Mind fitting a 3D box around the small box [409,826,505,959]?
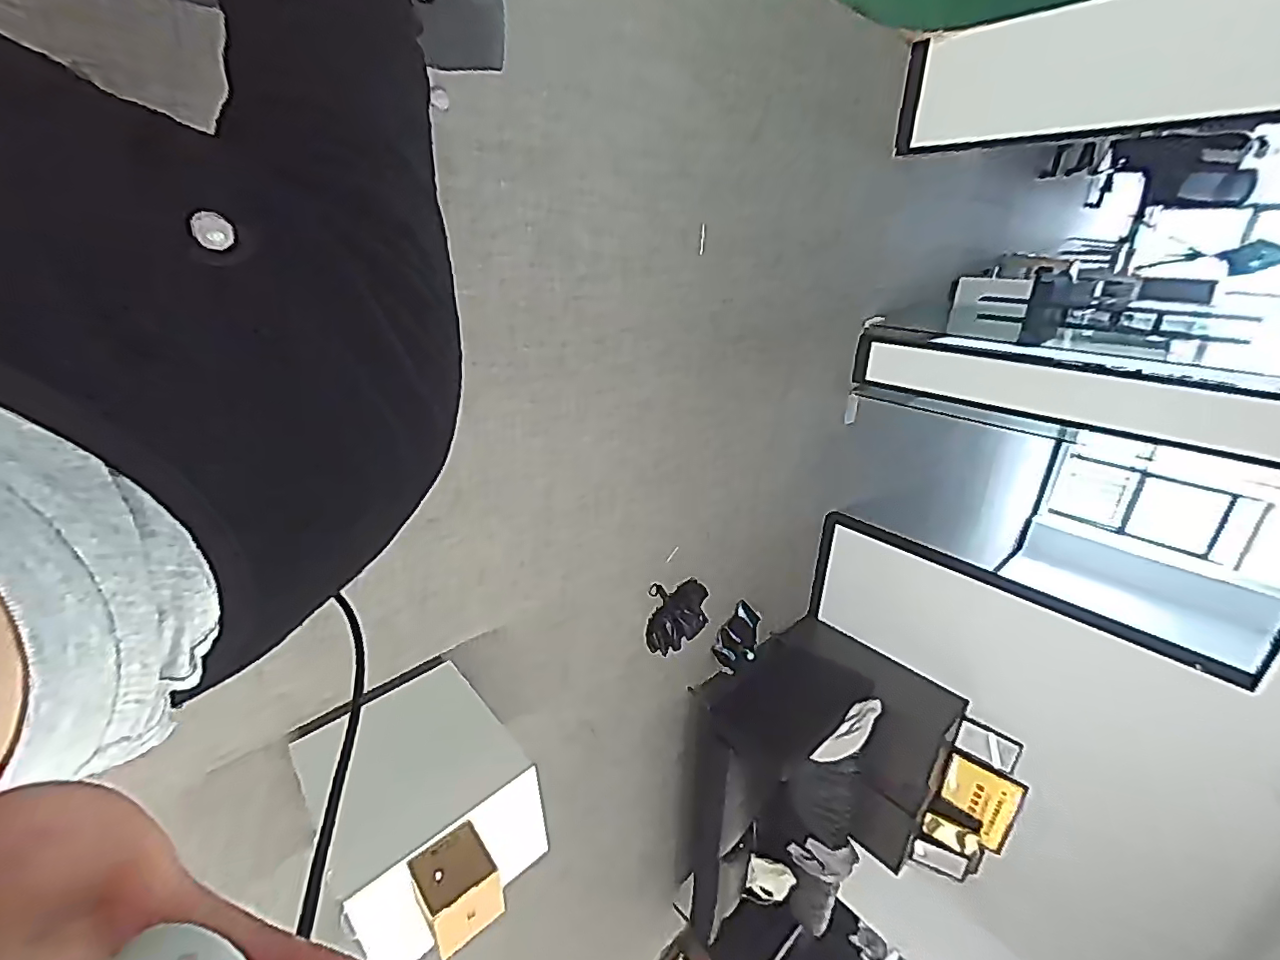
[{"bbox_3d":[-0.454,1.002,1.336,0.168,0.176,0.179,-19,123,-37],"label":"small box"}]
